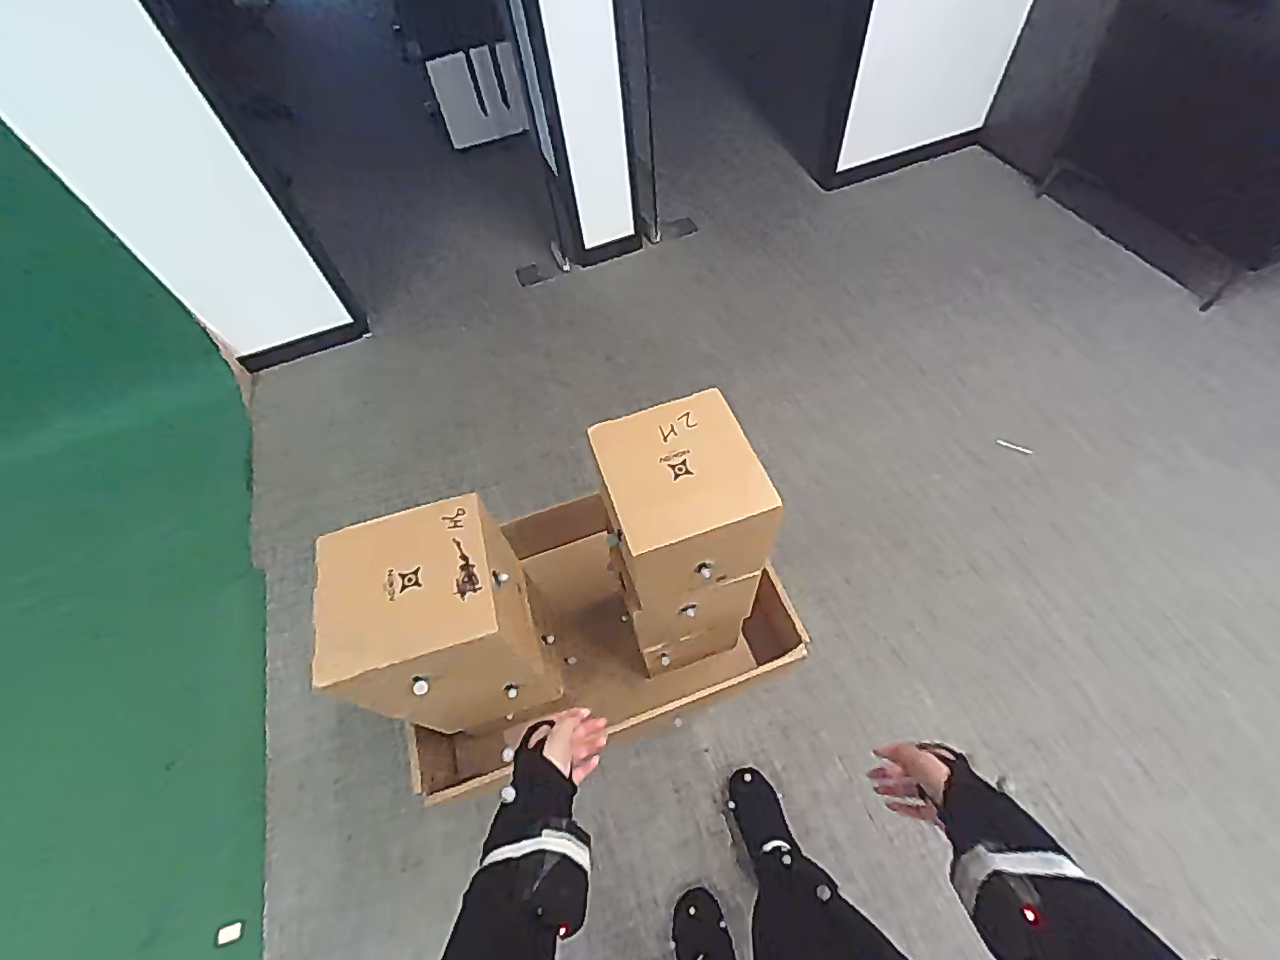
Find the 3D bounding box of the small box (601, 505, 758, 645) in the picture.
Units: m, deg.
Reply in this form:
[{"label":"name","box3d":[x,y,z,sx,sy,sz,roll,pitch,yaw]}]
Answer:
[{"label":"small box","box3d":[0.055,0.122,0.789,0.179,0.176,0.168,-16,58,-5]}]

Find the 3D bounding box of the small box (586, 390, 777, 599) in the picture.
[{"label":"small box","box3d":[0.046,0.027,0.654,0.168,0.176,0.179,-18,58,-7]}]

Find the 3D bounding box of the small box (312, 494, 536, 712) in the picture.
[{"label":"small box","box3d":[-0.233,0.146,0.612,0.179,0.176,0.168,-17,58,-5]}]

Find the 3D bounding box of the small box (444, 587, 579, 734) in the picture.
[{"label":"small box","box3d":[-0.215,0.305,0.897,0.179,0.176,0.168,-17,58,-6]}]
